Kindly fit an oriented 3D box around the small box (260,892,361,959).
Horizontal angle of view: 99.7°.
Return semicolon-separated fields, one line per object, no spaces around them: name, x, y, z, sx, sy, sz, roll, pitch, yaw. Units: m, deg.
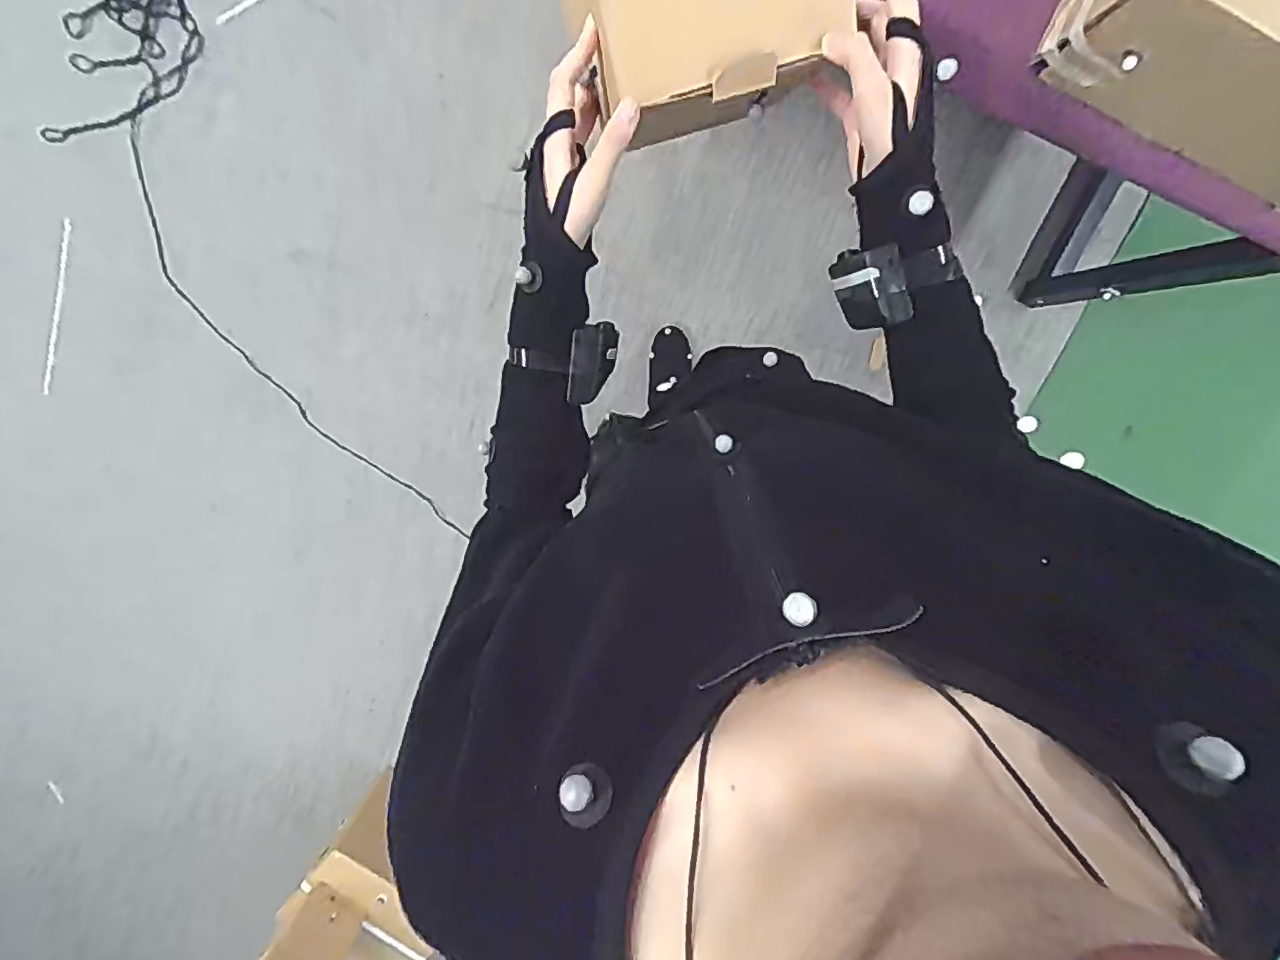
small box;-0.856;1.216;1.379;0.168;0.176;0.179;40;101;-7

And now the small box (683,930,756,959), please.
small box;0.199;1.306;1.380;0.179;0.176;0.168;13;102;-2
